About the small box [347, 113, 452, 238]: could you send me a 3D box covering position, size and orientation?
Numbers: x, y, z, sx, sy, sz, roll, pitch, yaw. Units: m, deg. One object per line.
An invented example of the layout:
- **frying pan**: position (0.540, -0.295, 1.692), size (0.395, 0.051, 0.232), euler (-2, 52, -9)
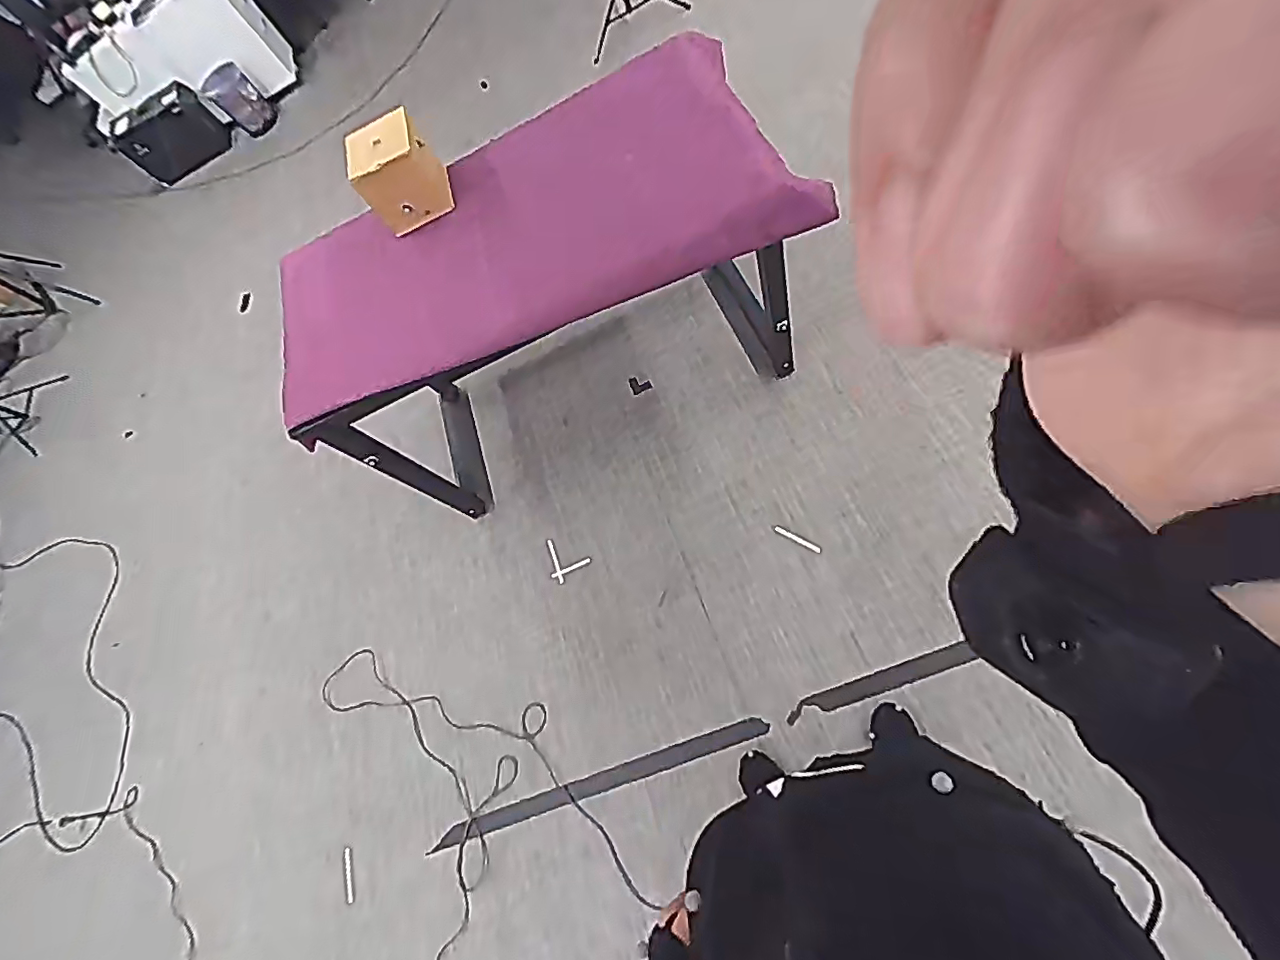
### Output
- **small box**: position (-0.586, -0.738, 1.323), size (0.168, 0.176, 0.179), euler (-22, 64, 8)
